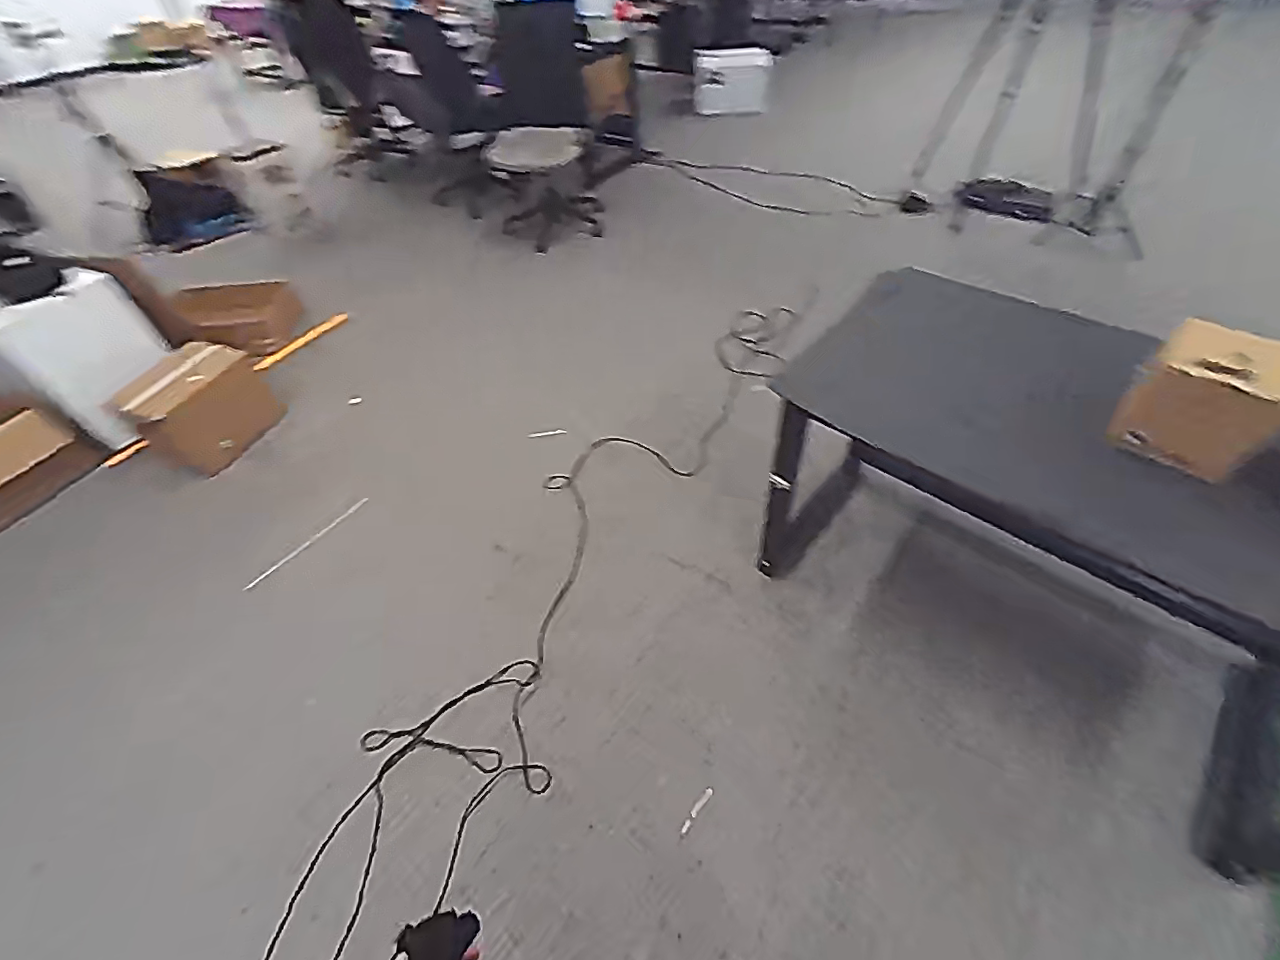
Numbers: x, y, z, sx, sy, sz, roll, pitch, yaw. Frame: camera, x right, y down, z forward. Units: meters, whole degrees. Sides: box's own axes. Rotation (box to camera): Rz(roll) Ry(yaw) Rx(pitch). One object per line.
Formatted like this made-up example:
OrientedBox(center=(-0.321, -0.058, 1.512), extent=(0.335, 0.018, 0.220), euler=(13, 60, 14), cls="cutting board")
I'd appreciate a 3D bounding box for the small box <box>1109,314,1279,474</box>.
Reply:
OrientedBox(center=(0.933, -0.141, 0.898), extent=(0.168, 0.176, 0.179), euler=(33, 59, 29), cls="small box")
